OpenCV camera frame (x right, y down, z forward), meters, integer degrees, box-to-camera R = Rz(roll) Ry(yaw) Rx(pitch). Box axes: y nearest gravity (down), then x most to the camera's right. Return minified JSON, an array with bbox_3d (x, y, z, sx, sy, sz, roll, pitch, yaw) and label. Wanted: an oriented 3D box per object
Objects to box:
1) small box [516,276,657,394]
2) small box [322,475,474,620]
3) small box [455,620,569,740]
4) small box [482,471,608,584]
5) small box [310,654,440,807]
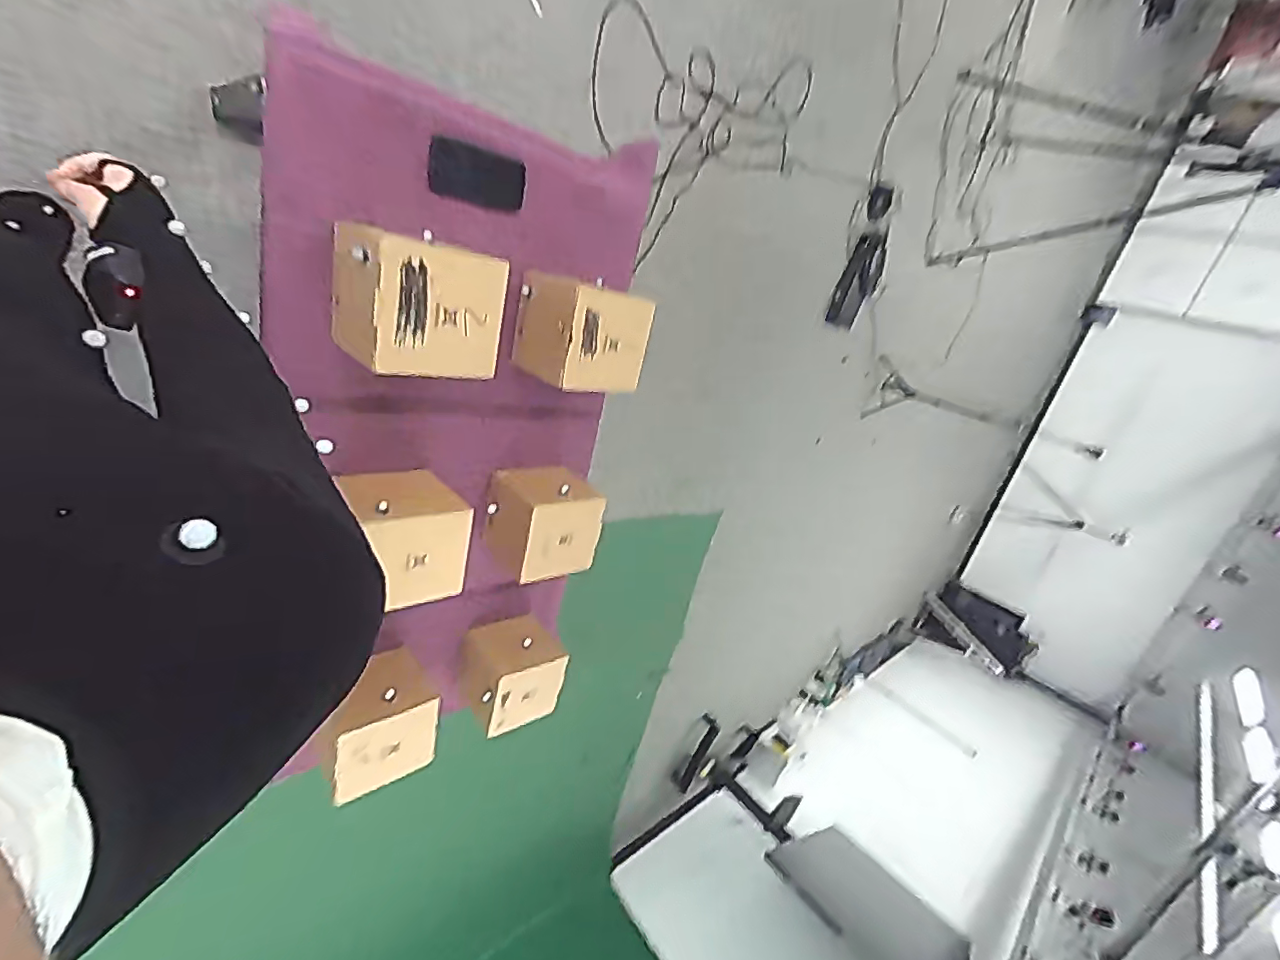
[{"bbox_3d":[-0.103,-0.260,0.974,0.179,0.176,0.168,-6,118,-43],"label":"small box"},{"bbox_3d":[-0.405,0.100,0.902,0.179,0.176,0.168,-6,119,-44],"label":"small box"},{"bbox_3d":[-0.294,0.444,1.235,0.179,0.176,0.168,-3,116,-45],"label":"small box"},{"bbox_3d":[-0.197,0.088,1.107,0.179,0.176,0.168,-4,116,-43],"label":"small box"},{"bbox_3d":[-0.504,0.459,1.025,0.179,0.176,0.168,-6,117,-43],"label":"small box"}]
